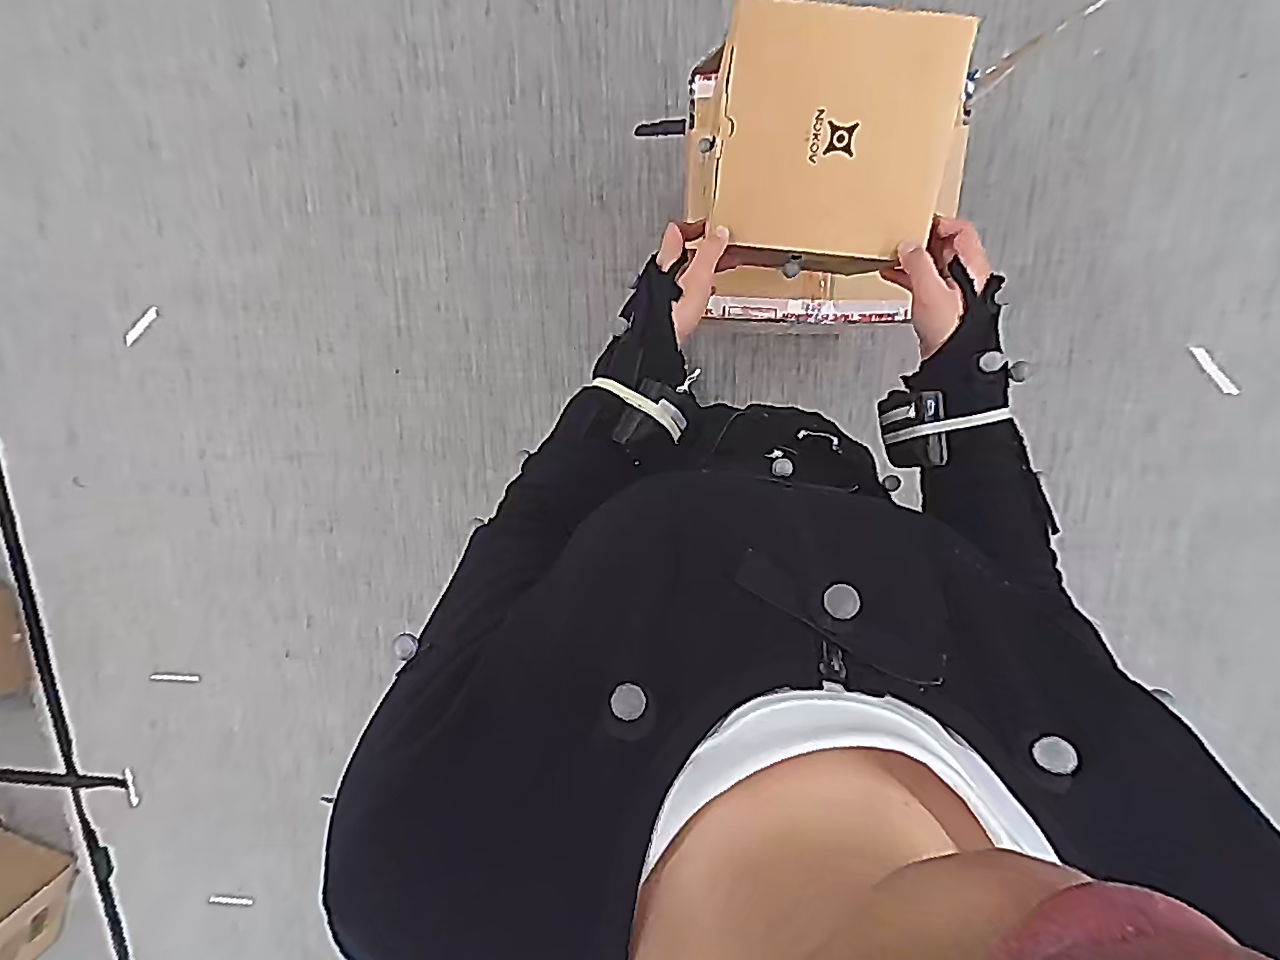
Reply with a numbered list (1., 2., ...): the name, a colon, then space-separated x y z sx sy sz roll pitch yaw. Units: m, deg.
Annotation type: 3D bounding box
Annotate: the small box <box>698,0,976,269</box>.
1. small box: 0.152 -0.289 0.489 0.179 0.176 0.168 6 108 1
